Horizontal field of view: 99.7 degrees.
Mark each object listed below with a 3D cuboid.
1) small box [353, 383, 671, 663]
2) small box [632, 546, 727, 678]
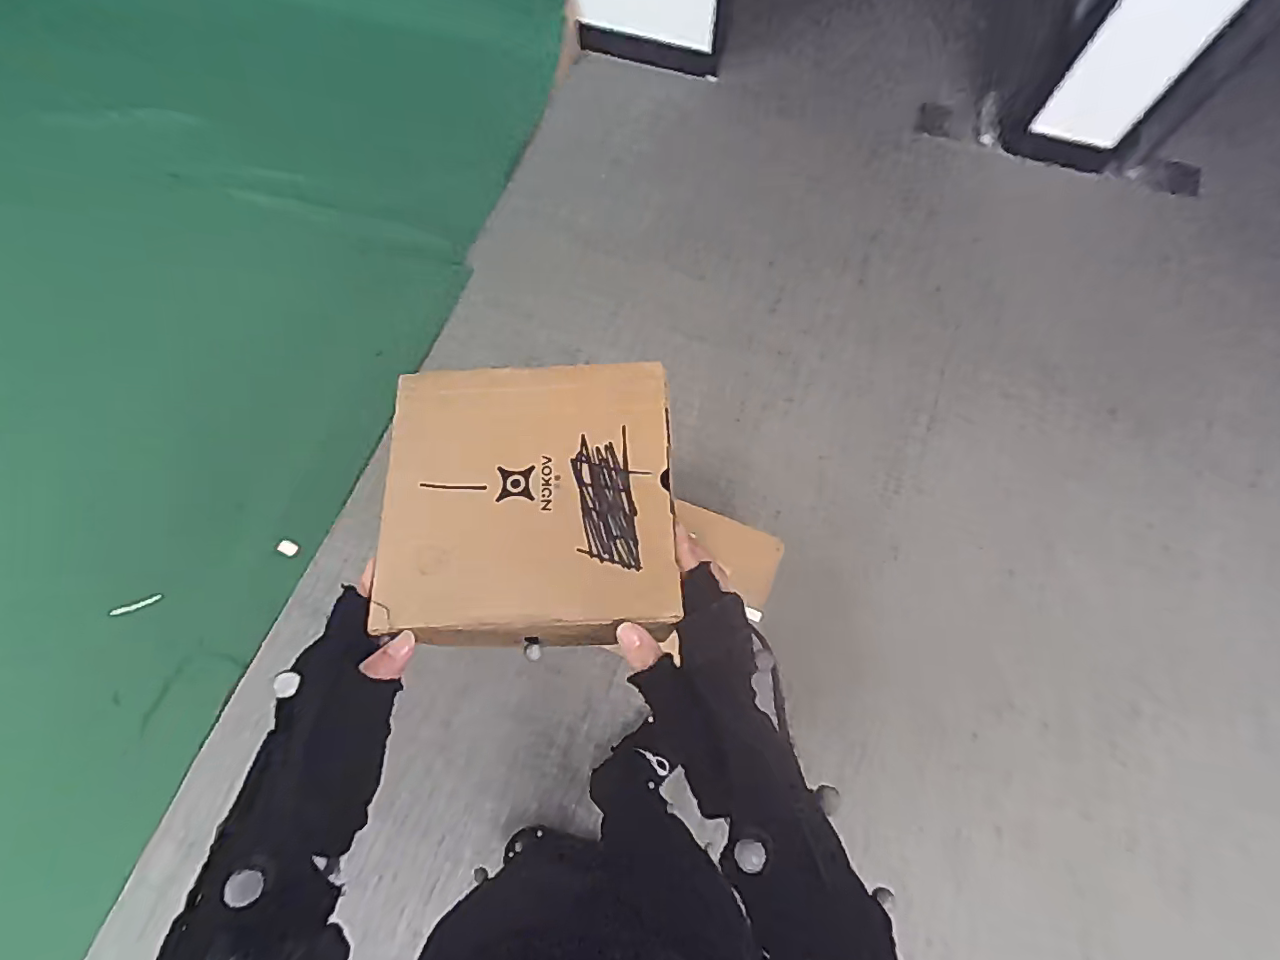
[{"bbox_3d":[-0.074,0.044,0.397,0.179,0.176,0.168,-3,70,-1],"label":"small box"},{"bbox_3d":[0.033,0.211,0.912,0.168,0.176,0.179,23,76,8],"label":"small box"}]
